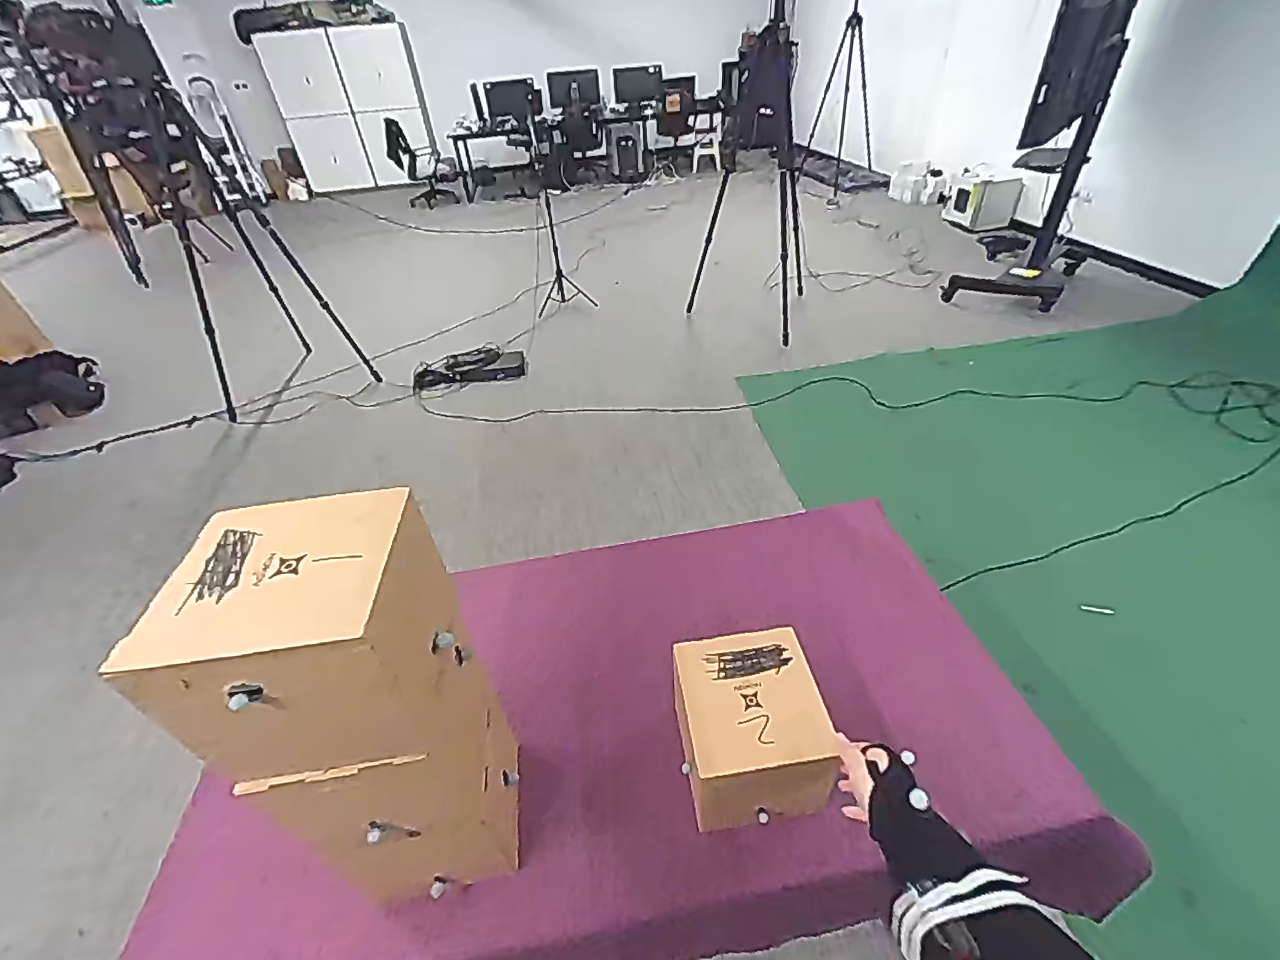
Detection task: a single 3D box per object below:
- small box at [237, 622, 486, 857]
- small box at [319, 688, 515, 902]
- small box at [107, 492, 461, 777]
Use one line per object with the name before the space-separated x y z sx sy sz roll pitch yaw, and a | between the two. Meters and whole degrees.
small box | -0.269 0.263 0.577 0.168 0.176 0.179 -9 40 -4
small box | -0.257 0.393 0.678 0.179 0.176 0.168 -9 39 -6
small box | -0.275 0.134 0.474 0.179 0.176 0.168 -7 39 -4
